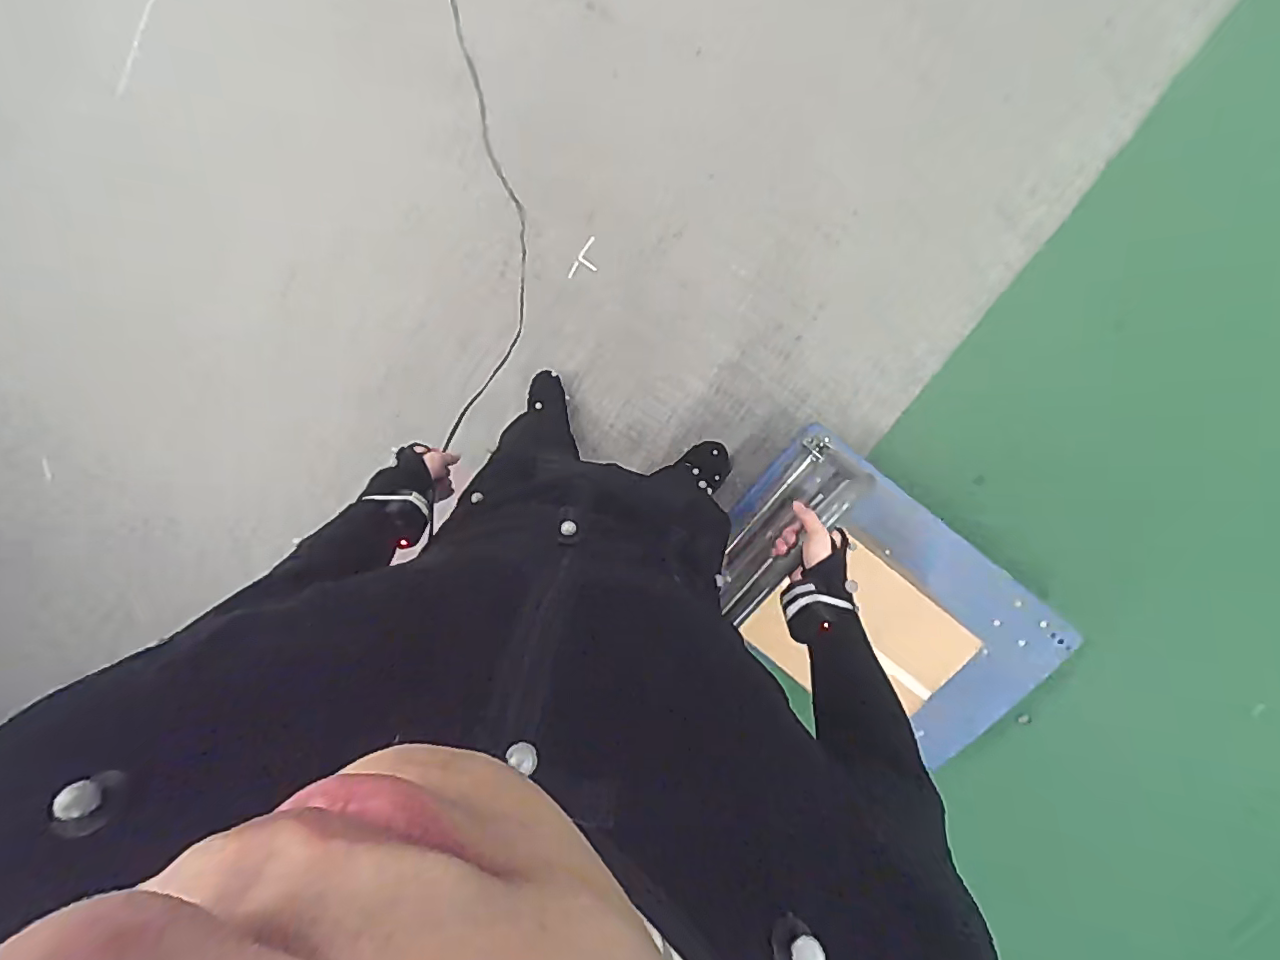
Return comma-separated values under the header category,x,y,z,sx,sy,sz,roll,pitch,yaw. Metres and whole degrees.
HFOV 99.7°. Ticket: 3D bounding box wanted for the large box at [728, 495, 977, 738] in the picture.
category,x,y,z,sx,sy,sz,roll,pitch,yaw
large box,0.459,0.294,1.274,0.408,0.320,0.320,39,103,0
